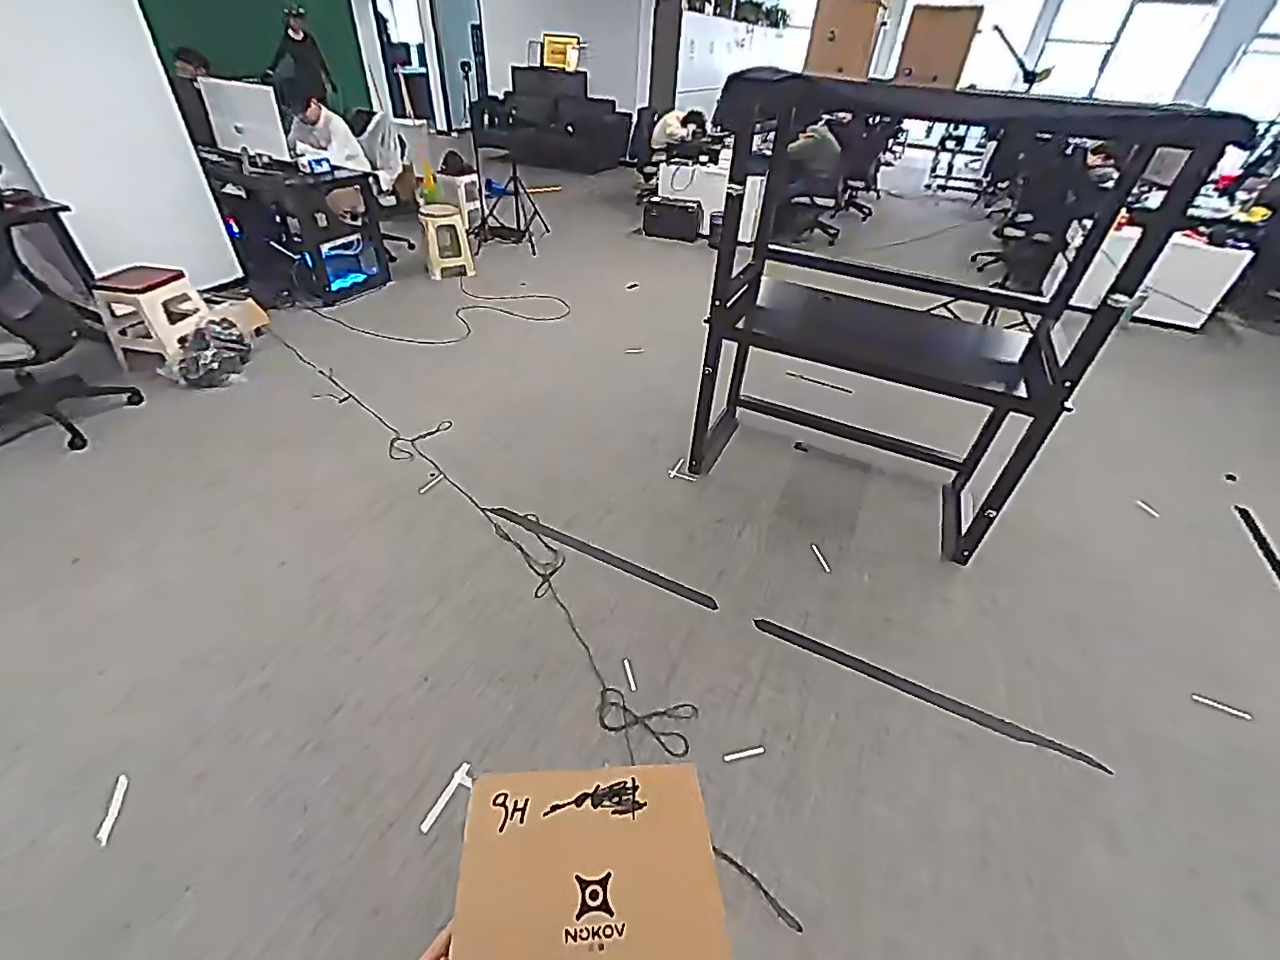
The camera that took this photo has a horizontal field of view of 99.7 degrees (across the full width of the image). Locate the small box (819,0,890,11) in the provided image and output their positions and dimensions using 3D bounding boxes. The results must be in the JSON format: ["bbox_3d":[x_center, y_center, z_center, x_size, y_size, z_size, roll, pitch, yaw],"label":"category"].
[{"bbox_3d":[0.579,-1.338,1.407,0.168,0.176,0.179,20,40,19],"label":"small box"}]

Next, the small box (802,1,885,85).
[{"bbox_3d":[0.562,-1.210,1.506,0.168,0.176,0.179,20,39,17],"label":"small box"}]

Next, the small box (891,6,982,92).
[{"bbox_3d":[0.791,-1.148,1.449,0.168,0.176,0.179,20,39,19],"label":"small box"}]

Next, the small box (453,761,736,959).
[{"bbox_3d":[-0.036,0.324,0.374,0.168,0.176,0.179,3,37,-10],"label":"small box"}]
